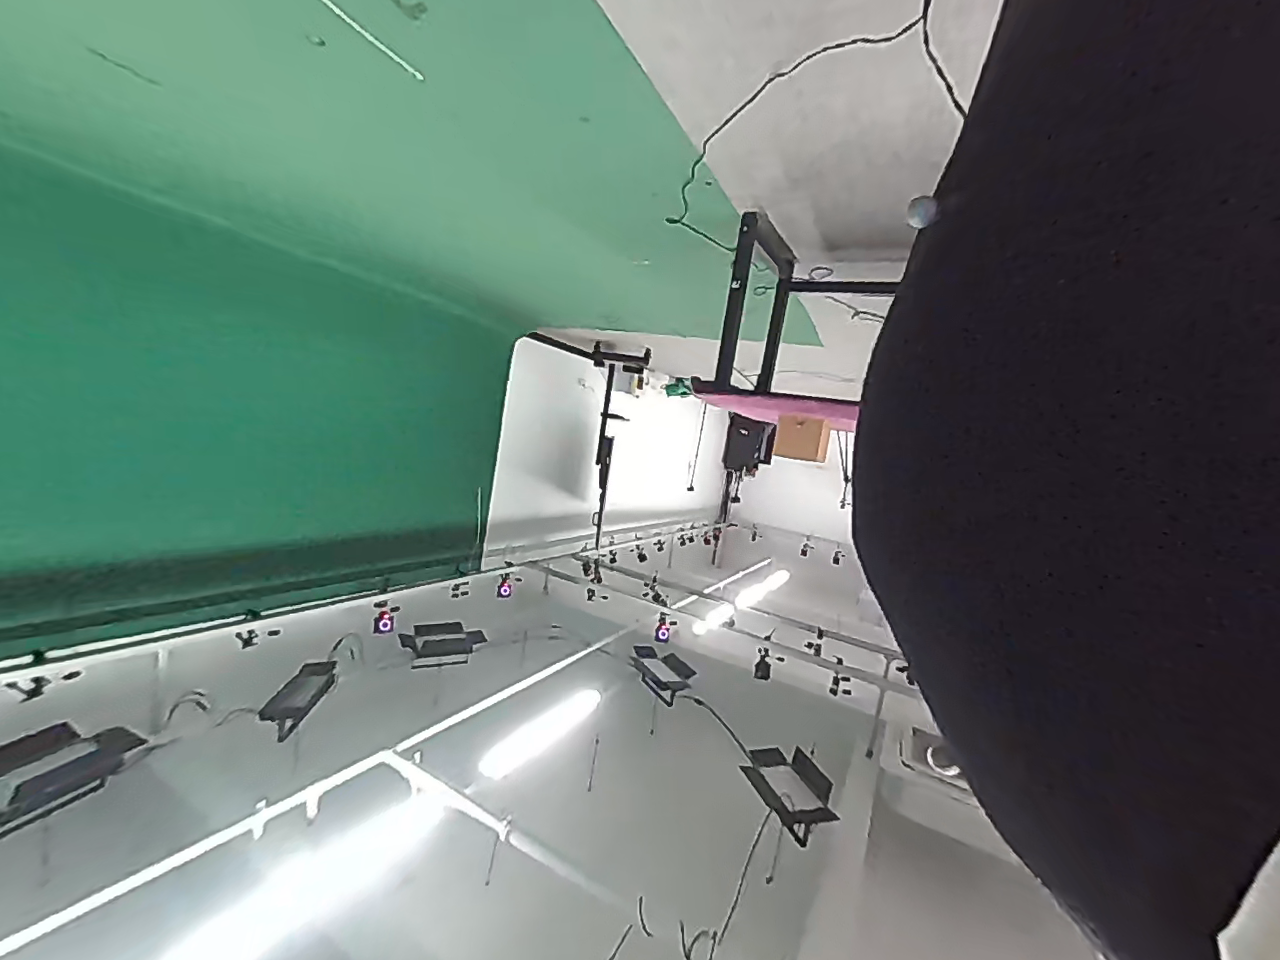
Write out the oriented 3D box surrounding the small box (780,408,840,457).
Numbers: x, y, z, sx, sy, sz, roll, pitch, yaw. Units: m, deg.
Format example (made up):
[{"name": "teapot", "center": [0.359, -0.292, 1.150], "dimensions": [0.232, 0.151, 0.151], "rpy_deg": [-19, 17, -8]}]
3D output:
[{"name": "small box", "center": [0.673, -0.190, 2.132], "dimensions": [0.179, 0.176, 0.168], "rpy_deg": [13, -173, 29]}]
